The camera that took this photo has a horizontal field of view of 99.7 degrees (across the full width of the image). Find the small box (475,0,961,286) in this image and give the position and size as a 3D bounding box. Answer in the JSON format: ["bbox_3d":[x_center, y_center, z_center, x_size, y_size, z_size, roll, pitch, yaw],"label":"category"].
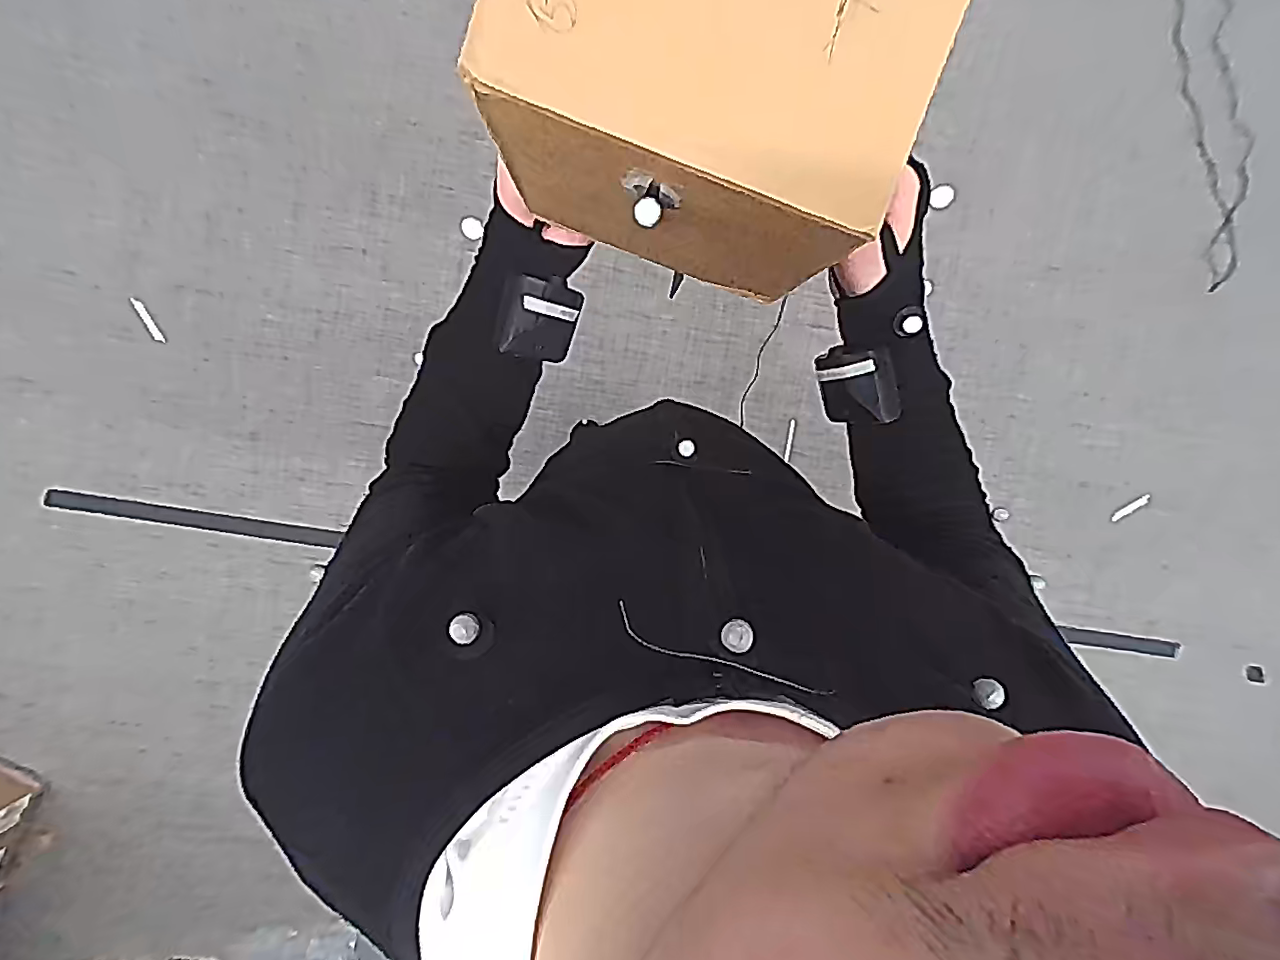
[{"bbox_3d":[0.039,-0.220,0.287,0.179,0.176,0.168,19,98,-5],"label":"small box"}]
